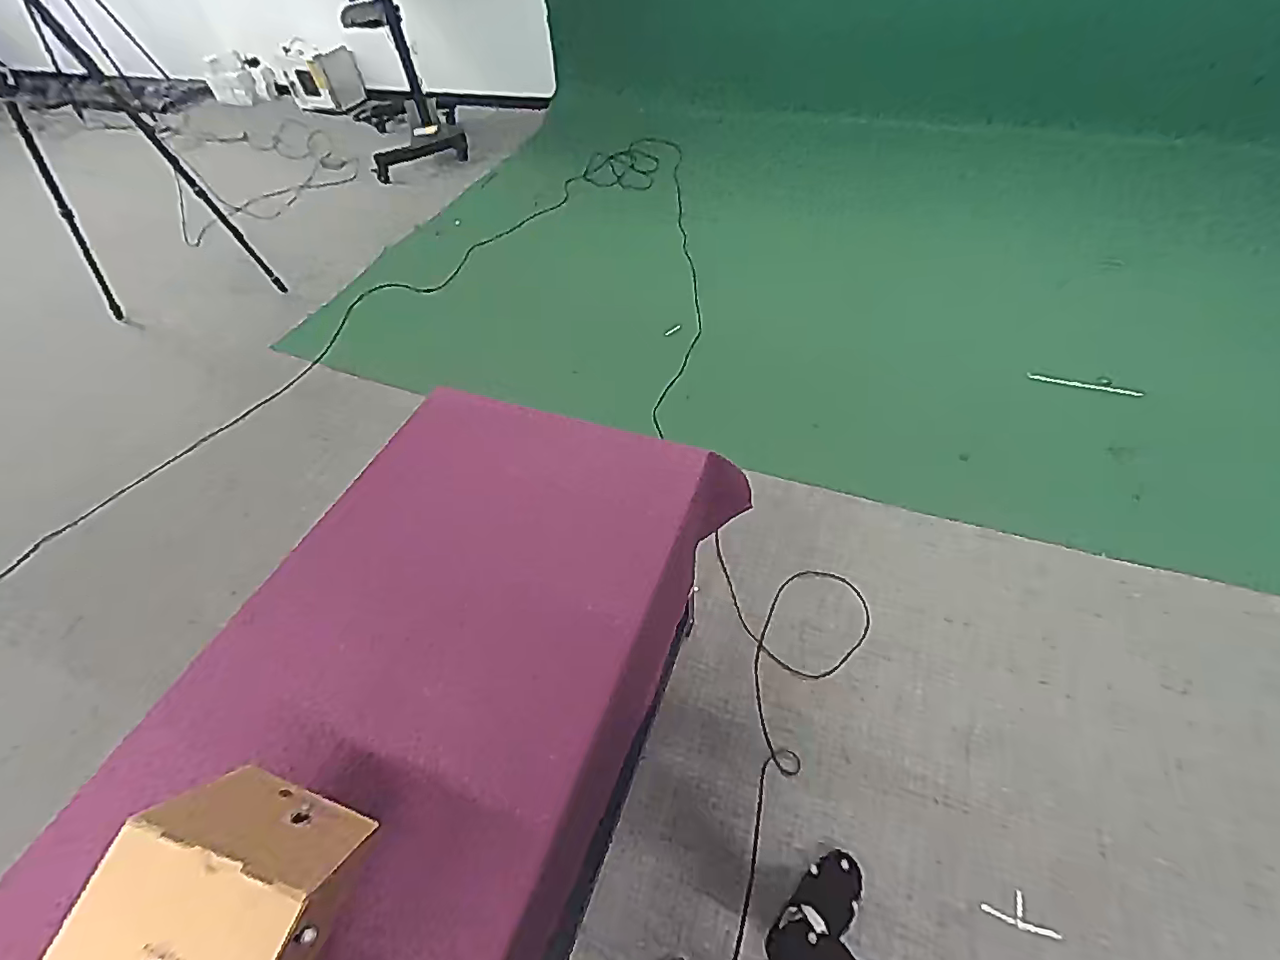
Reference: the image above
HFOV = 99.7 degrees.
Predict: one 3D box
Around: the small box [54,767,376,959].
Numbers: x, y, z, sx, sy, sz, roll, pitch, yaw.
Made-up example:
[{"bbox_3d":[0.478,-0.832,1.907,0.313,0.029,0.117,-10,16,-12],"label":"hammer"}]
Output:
[{"bbox_3d":[-0.383,0.407,0.507,0.168,0.176,0.179,22,76,1],"label":"small box"}]
